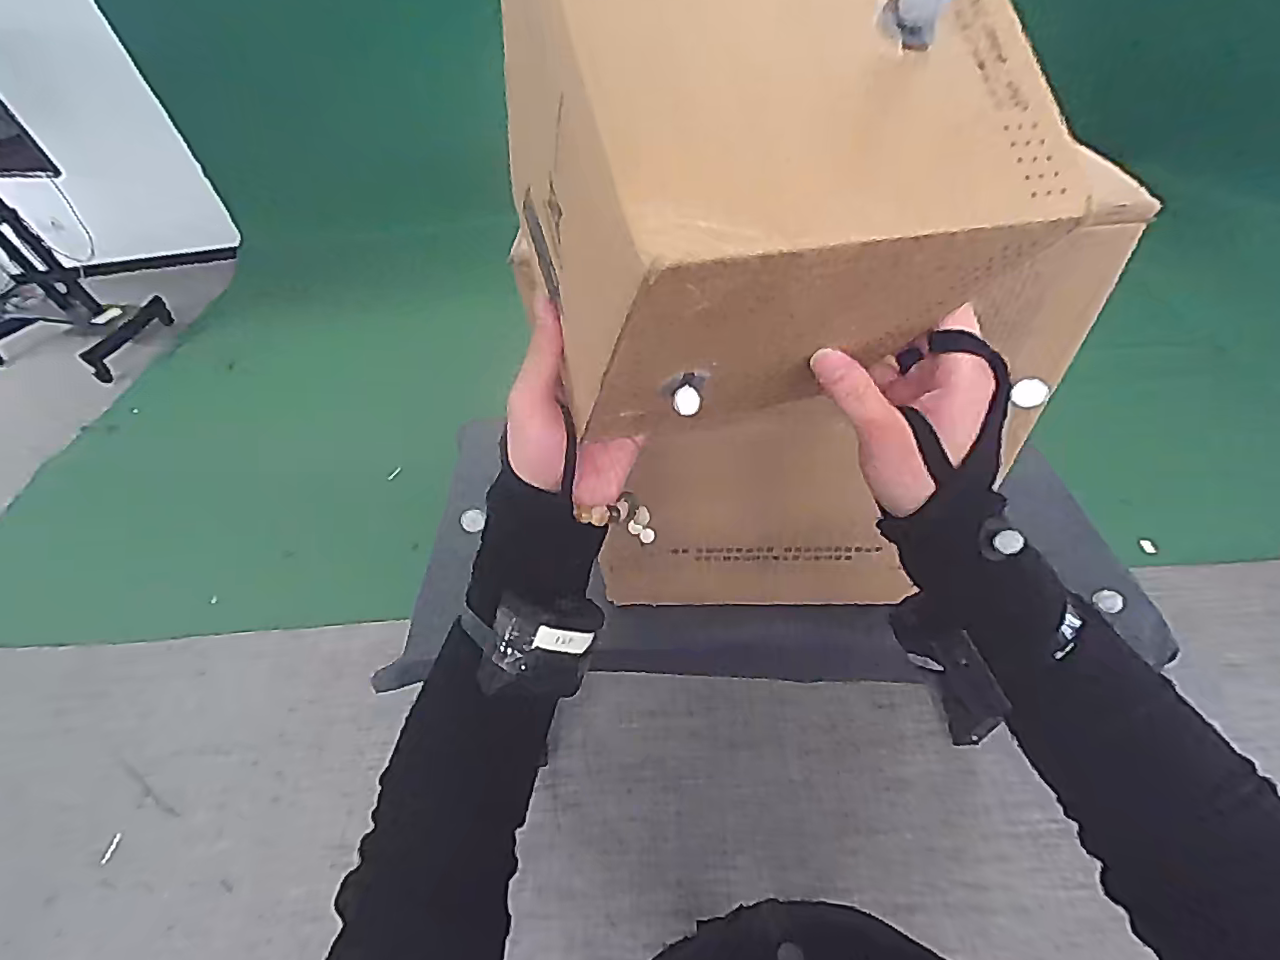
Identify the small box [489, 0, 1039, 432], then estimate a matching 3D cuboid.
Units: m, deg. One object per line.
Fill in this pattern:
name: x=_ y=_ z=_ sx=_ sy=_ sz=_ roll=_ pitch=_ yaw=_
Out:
small box: x=0.033 y=-0.135 z=0.263 sx=0.176 sy=0.179 sz=0.168 roll=-15 pitch=86 yaw=-13
